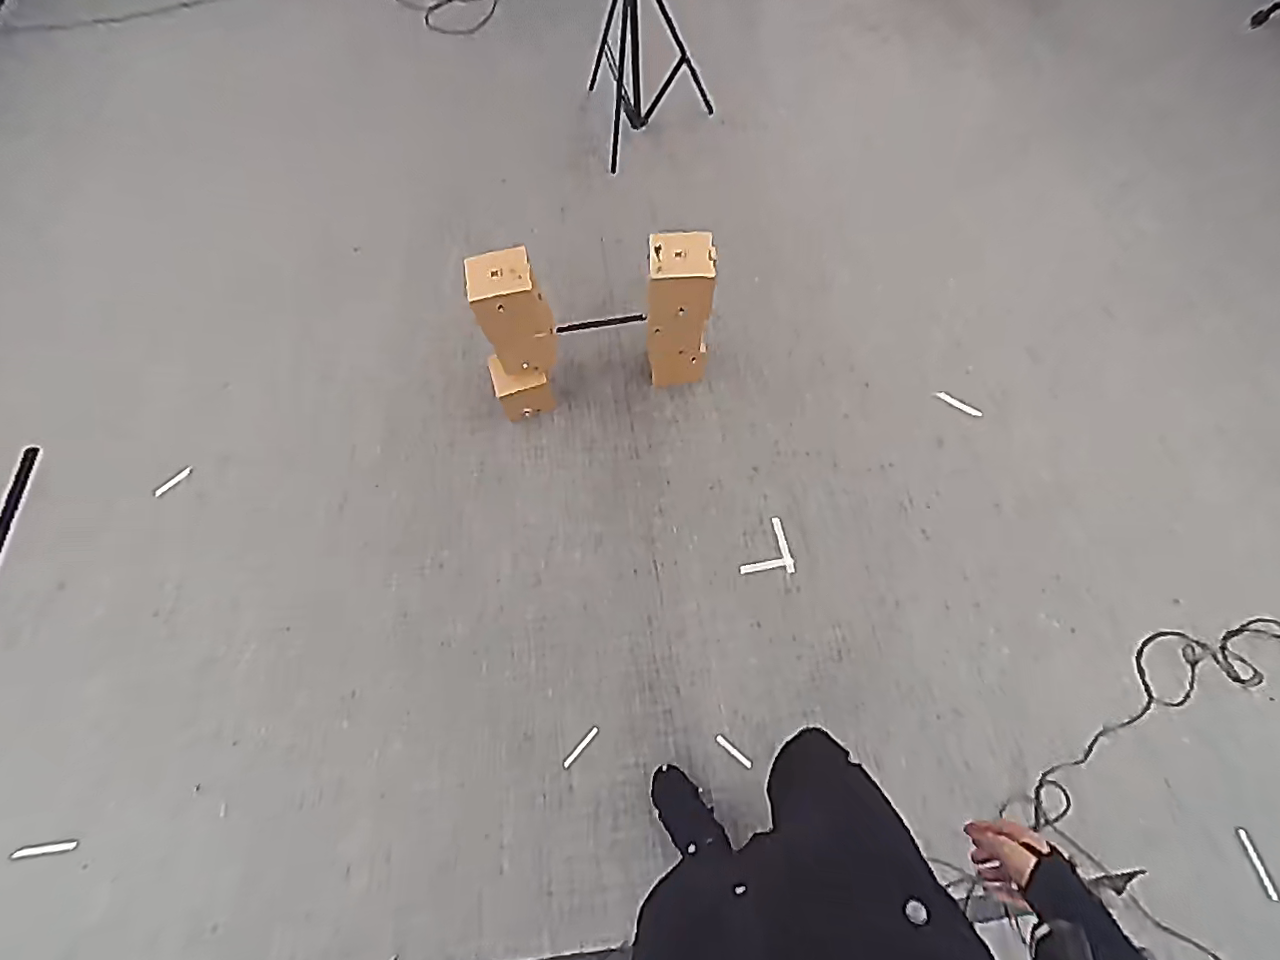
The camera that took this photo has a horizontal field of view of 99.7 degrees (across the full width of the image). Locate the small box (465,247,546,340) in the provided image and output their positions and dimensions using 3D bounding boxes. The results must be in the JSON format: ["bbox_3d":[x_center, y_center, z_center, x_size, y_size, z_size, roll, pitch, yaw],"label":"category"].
[{"bbox_3d":[-0.376,-0.517,1.520,0.179,0.176,0.168,-12,65,-2],"label":"small box"}]

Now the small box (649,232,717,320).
[{"bbox_3d":[0.114,-0.569,1.521,0.179,0.176,0.168,-1,64,0],"label":"small box"}]

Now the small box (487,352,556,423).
[{"bbox_3d":[-0.388,-0.320,1.791,0.168,0.176,0.179,-19,66,-5],"label":"small box"}]

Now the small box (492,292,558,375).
[{"bbox_3d":[-0.352,-0.449,1.669,0.168,0.176,0.179,-5,65,1],"label":"small box"}]

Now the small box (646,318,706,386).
[{"bbox_3d":[0.119,-0.435,1.821,0.179,0.176,0.168,-8,65,-2],"label":"small box"}]
